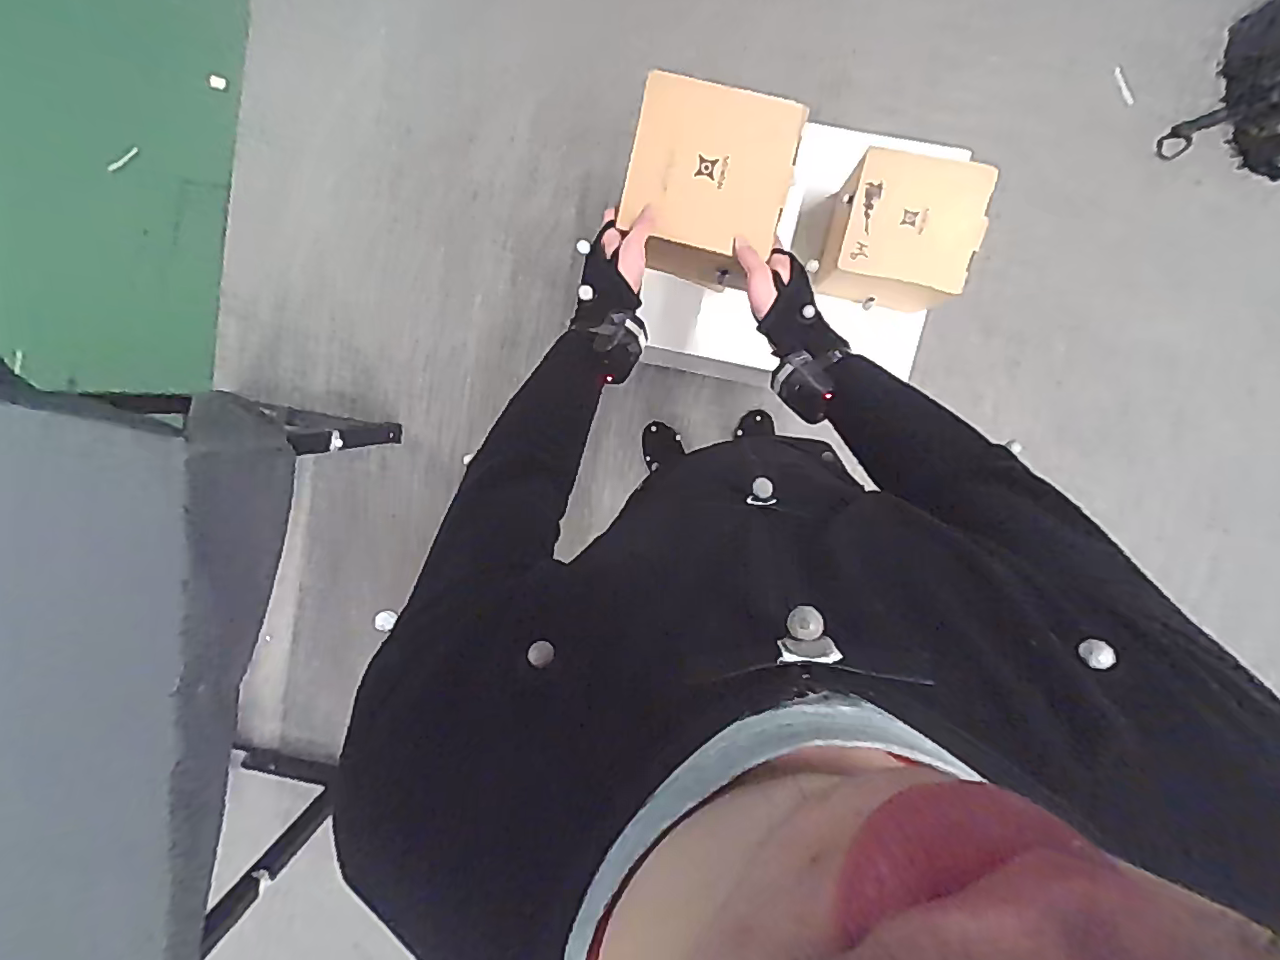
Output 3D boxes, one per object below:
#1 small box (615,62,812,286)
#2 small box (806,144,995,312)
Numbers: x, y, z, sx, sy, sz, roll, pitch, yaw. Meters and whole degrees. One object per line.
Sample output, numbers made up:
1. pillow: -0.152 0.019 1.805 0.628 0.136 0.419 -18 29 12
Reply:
1. small box: 0.078 -0.342 0.643 0.179 0.176 0.168 13 98 1
2. small box: 0.370 -0.358 0.803 0.179 0.176 0.168 14 98 1
